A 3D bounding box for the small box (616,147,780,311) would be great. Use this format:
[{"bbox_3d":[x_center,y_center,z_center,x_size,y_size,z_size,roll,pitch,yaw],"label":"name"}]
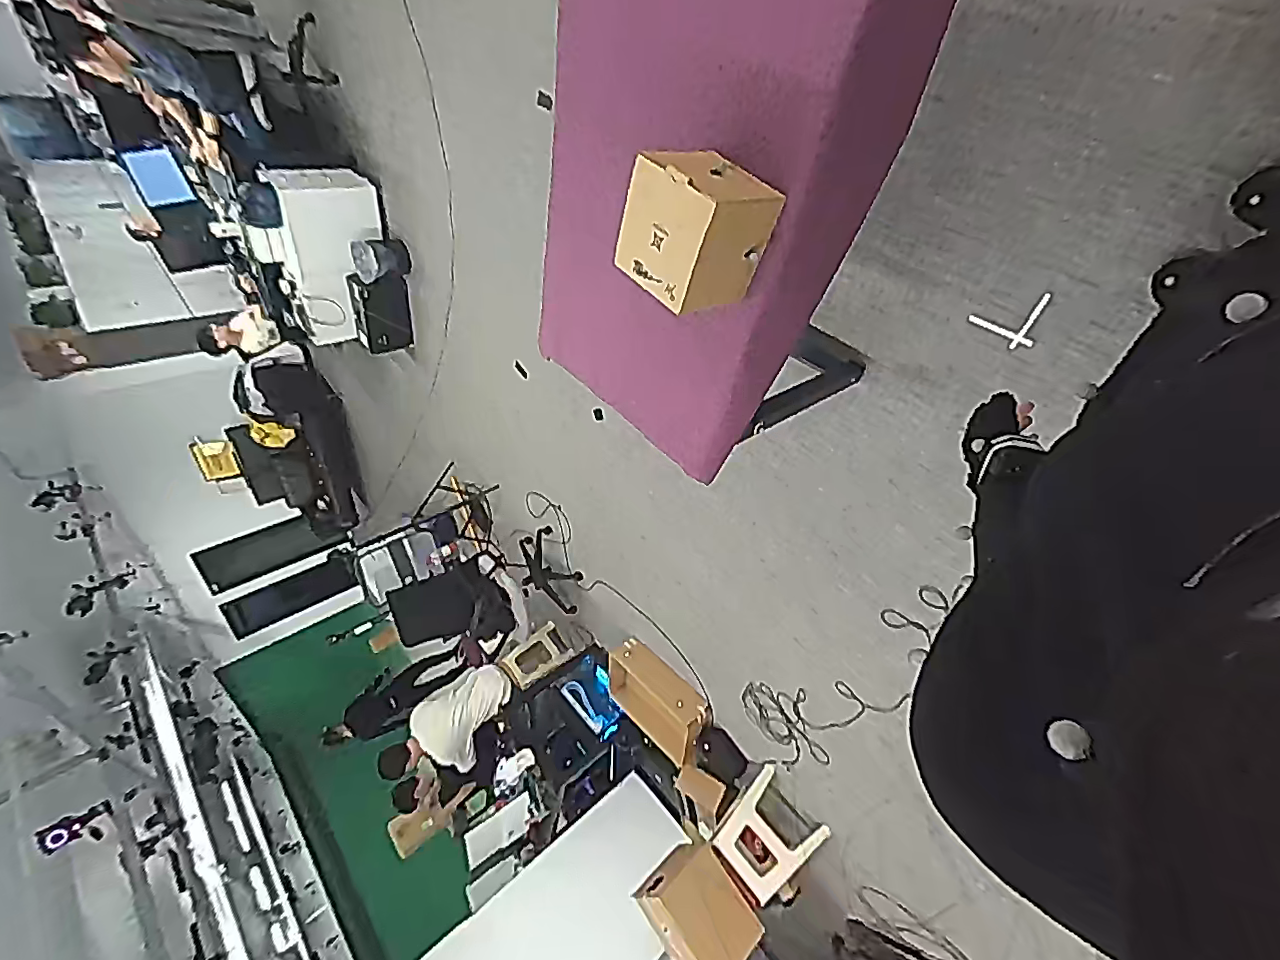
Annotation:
[{"bbox_3d":[0.092,-0.399,0.855,0.168,0.176,0.179,47,140,24],"label":"small box"}]
